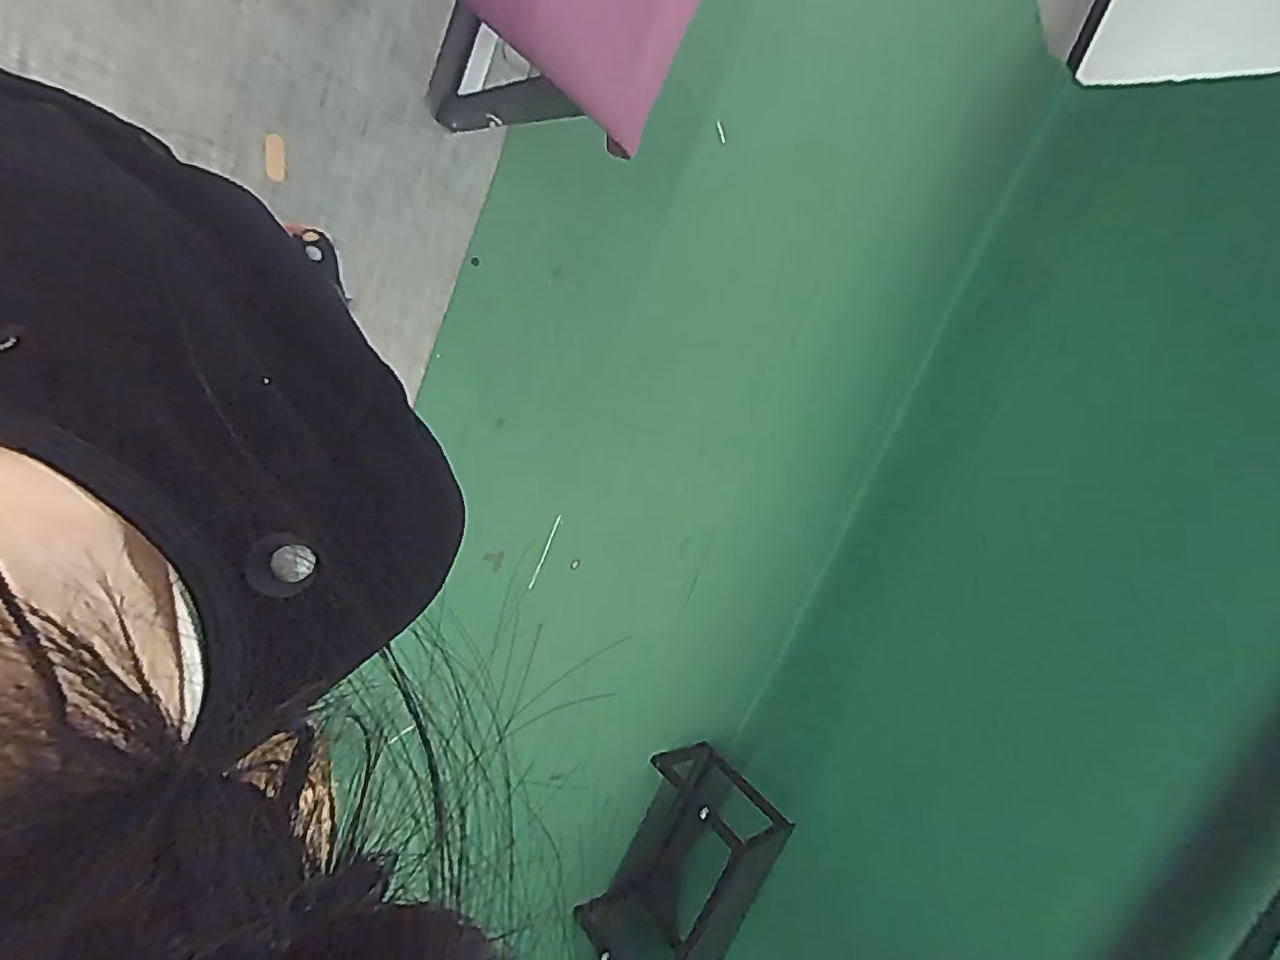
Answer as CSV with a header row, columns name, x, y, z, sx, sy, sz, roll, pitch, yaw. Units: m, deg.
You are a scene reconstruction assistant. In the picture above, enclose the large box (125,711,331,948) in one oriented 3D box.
name,x,y,z,sx,sy,sz,roll,pitch,yaw
large box,-1.112,0.914,1.478,0.408,0.320,0.320,-6,117,-43
